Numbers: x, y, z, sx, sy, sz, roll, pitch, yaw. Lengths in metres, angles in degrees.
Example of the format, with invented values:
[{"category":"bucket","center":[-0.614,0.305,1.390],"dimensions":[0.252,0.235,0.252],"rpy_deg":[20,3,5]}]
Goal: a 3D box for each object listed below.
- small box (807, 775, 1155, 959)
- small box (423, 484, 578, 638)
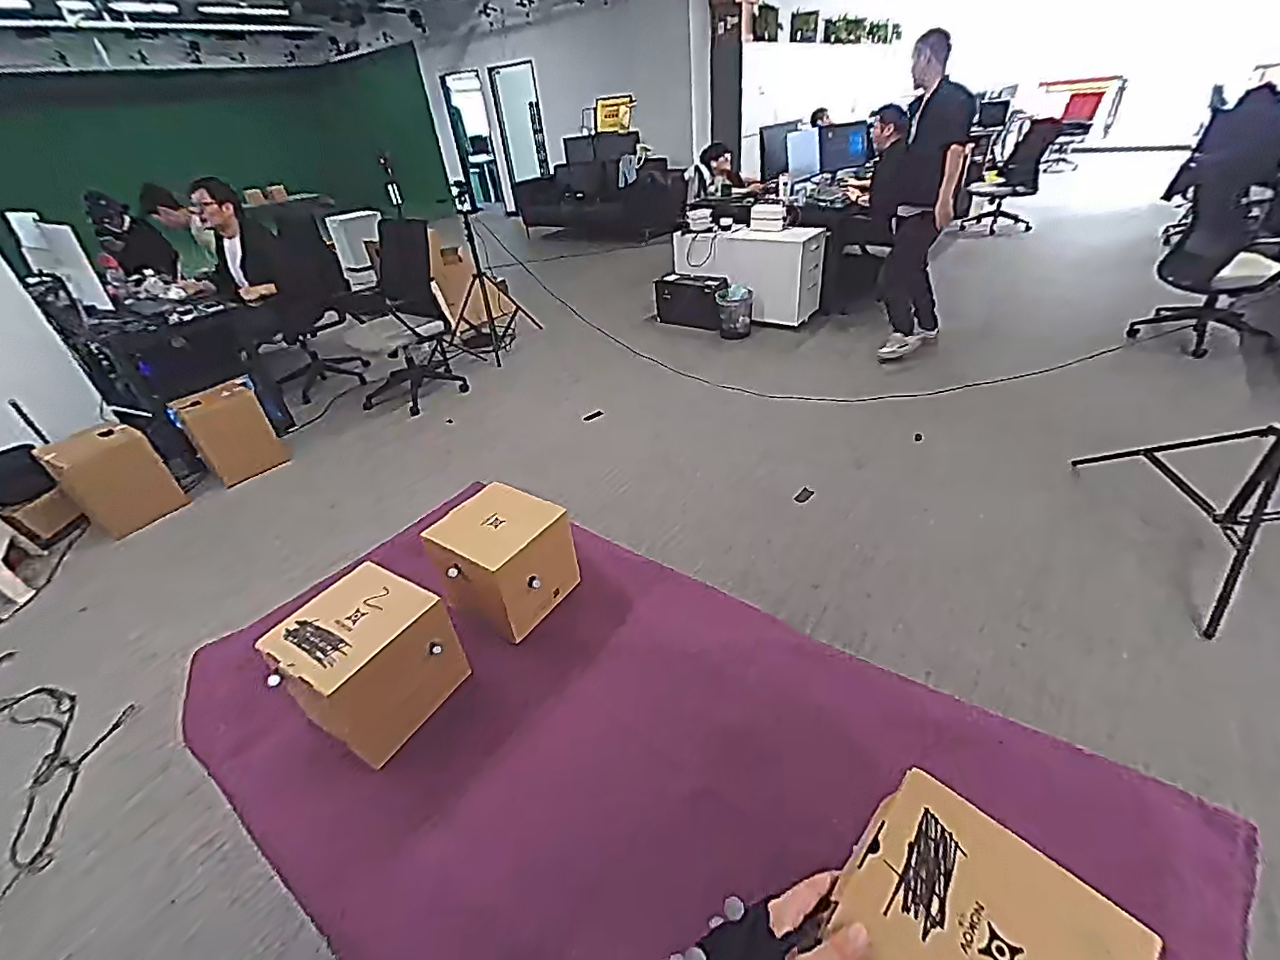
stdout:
[{"category":"small box","center":[0.247,0.392,0.430],"dimensions":[0.179,0.176,0.168],"rpy_deg":[28,48,36]},{"category":"small box","center":[-0.225,0.137,0.915],"dimensions":[0.179,0.176,0.168],"rpy_deg":[18,41,30]}]
